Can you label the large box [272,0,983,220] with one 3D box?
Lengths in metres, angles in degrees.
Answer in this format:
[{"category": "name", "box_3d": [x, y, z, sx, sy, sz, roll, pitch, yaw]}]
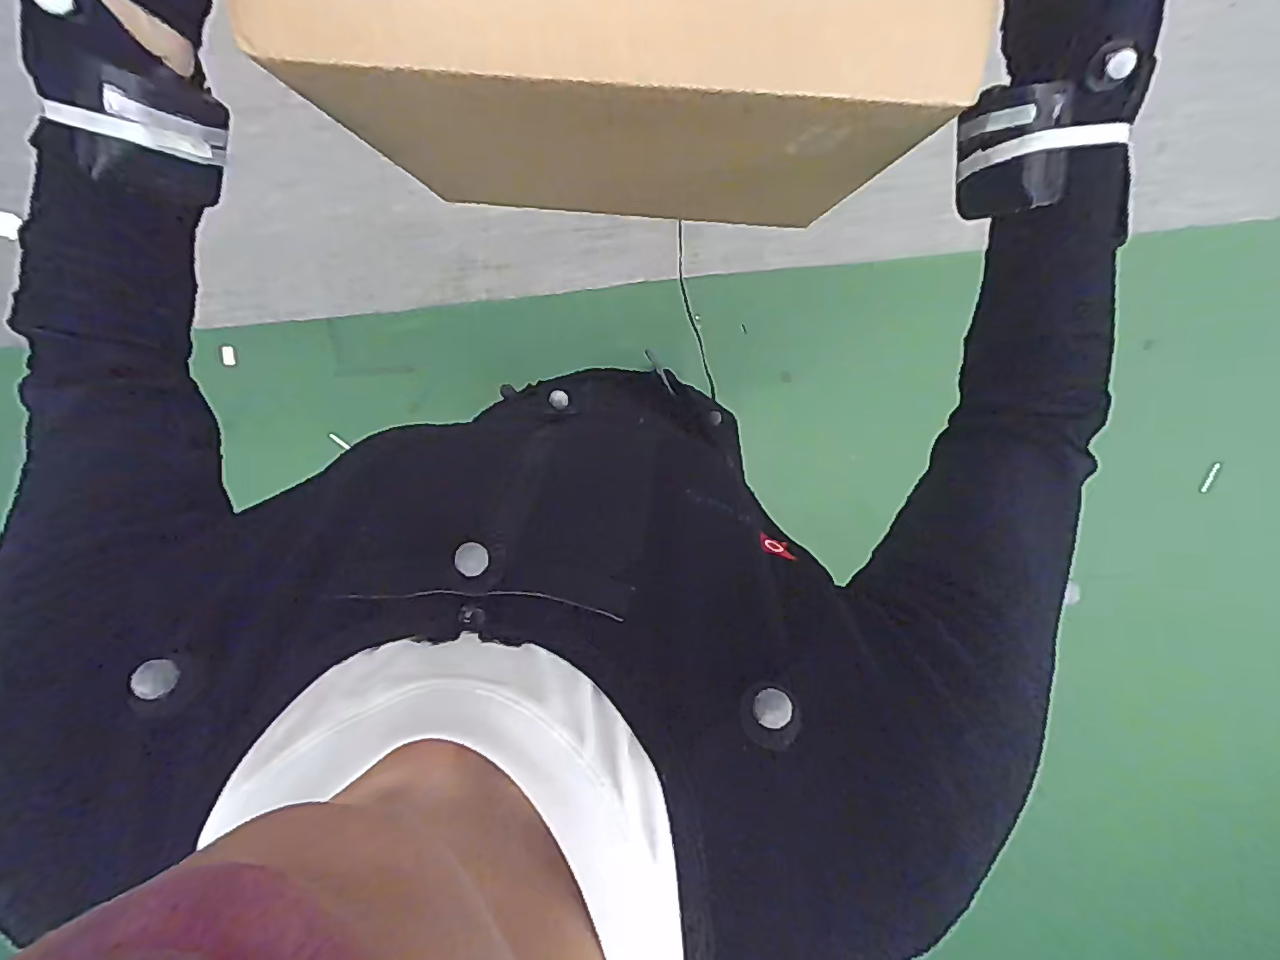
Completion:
[{"category": "large box", "box_3d": [-0.003, -0.408, 0.420, 0.408, 0.320, 0.320, 3, 104, 0]}]
